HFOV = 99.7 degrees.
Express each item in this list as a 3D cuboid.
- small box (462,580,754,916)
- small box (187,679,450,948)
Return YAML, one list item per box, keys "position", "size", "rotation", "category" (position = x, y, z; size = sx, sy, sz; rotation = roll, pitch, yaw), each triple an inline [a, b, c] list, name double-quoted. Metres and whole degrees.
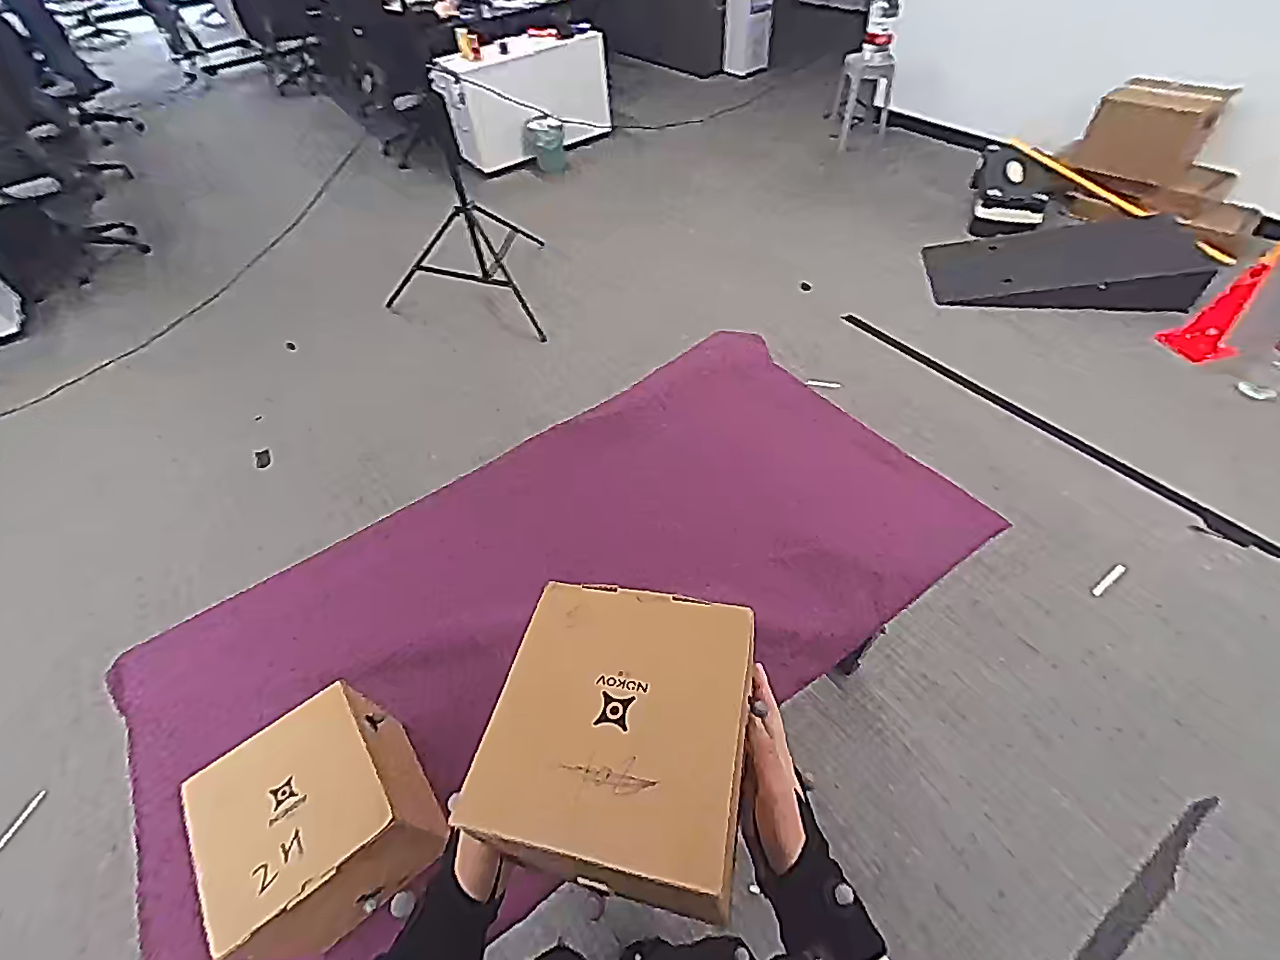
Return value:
- position: [-0.003, 0.205, 0.423]
  size: [0.168, 0.176, 0.179]
  rotation: [4, 48, 16]
  category: "small box"
- position: [-0.341, 0.363, 0.595]
  size: [0.168, 0.176, 0.179]
  rotation: [-34, 56, -20]
  category: "small box"
